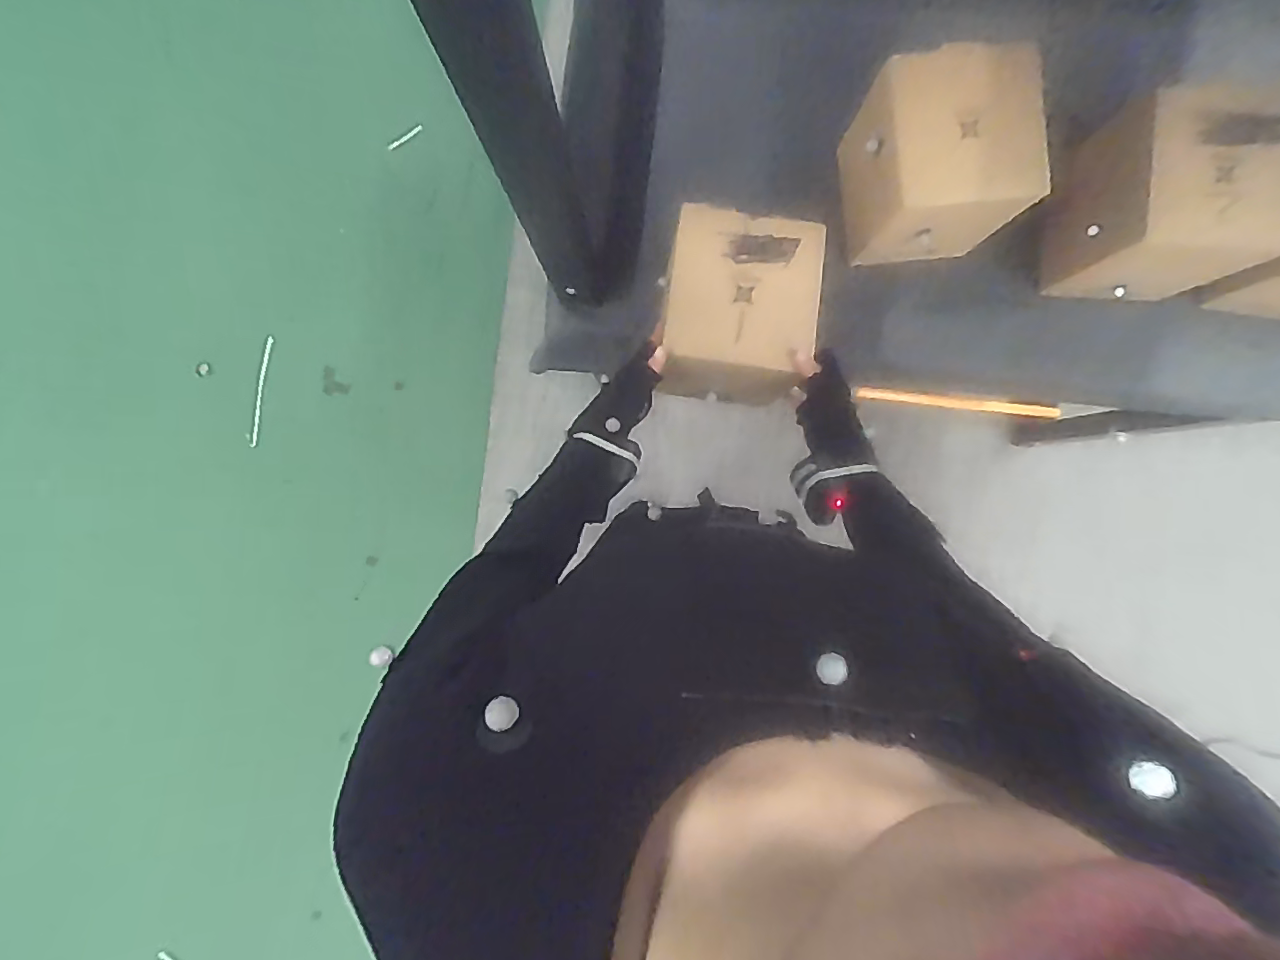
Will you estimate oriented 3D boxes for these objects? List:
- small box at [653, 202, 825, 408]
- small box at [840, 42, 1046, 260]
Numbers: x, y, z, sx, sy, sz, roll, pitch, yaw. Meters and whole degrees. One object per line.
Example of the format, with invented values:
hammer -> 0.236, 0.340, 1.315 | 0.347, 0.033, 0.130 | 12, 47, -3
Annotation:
small box -> 0.110, -0.202, 0.668 | 0.168, 0.176, 0.179 | 8, 84, -2
small box -> 0.366, -0.394, 0.682 | 0.168, 0.176, 0.179 | -5, 88, 1
